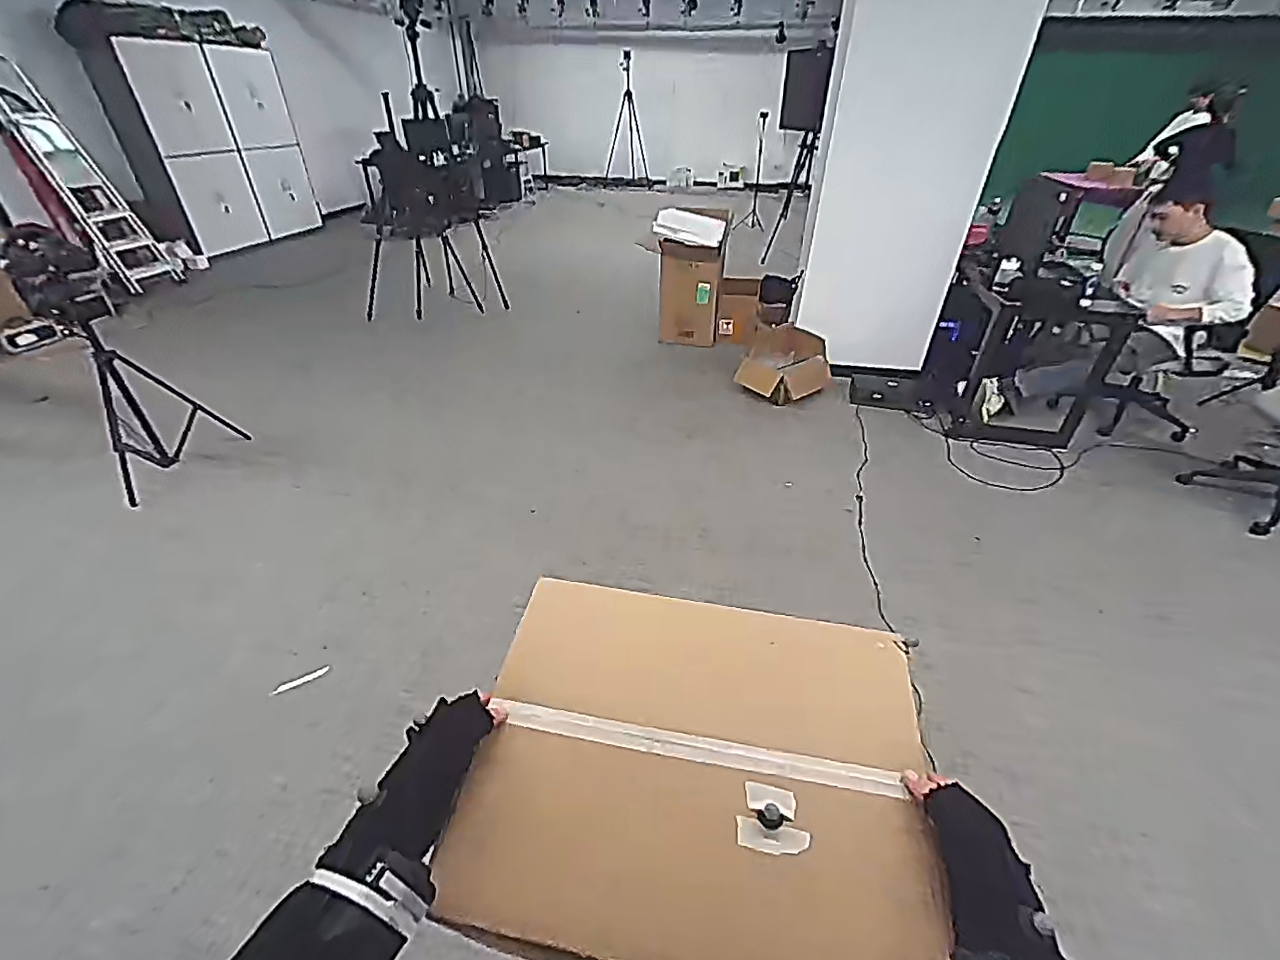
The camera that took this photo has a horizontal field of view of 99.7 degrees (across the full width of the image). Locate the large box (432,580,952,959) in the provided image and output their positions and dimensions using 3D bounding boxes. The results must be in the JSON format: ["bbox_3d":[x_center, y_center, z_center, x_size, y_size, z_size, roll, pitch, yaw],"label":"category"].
[{"bbox_3d":[0.052,0.352,0.608,0.408,0.320,0.320,8,45,7],"label":"large box"}]
